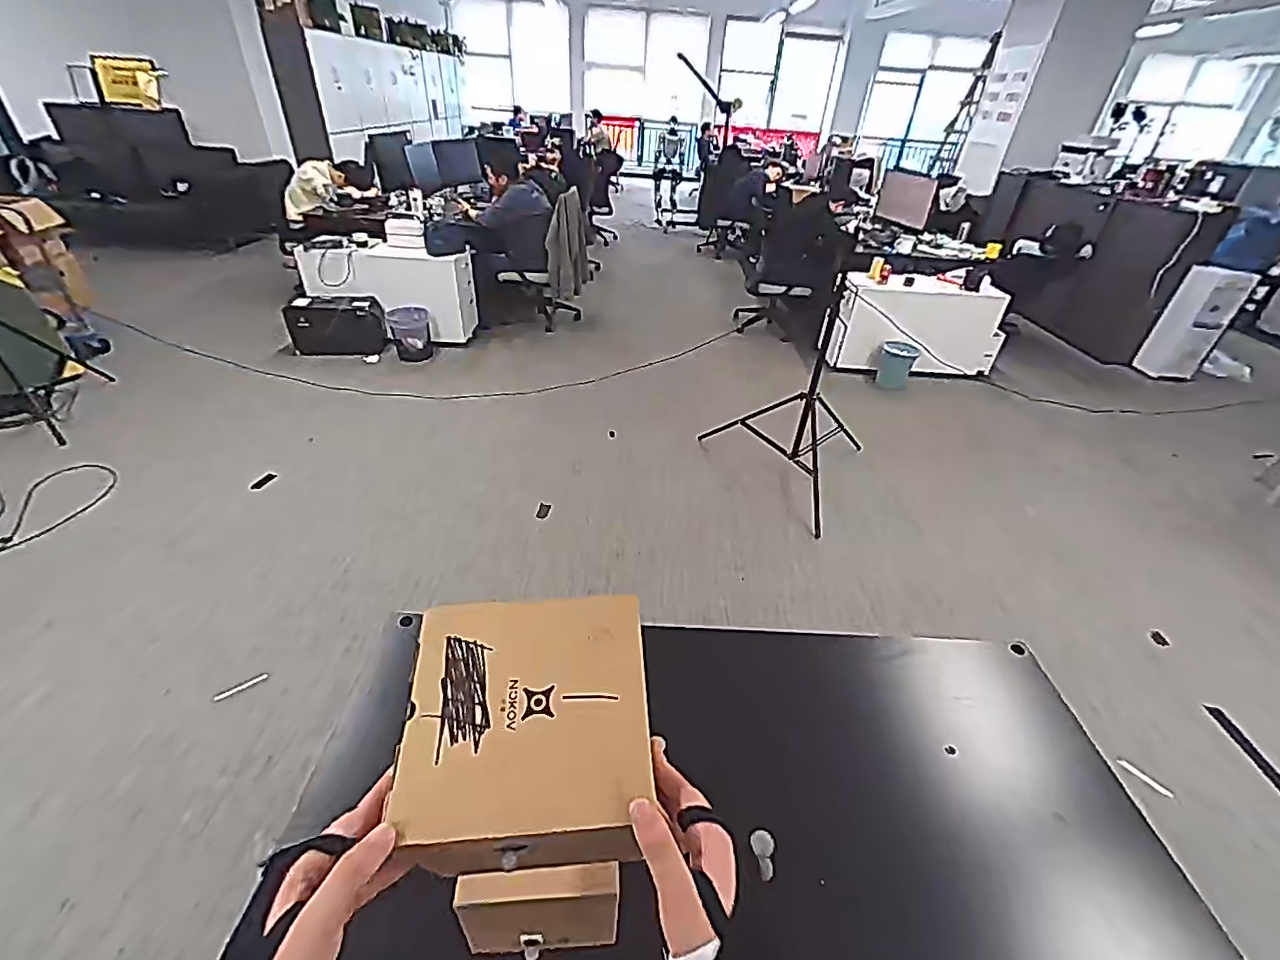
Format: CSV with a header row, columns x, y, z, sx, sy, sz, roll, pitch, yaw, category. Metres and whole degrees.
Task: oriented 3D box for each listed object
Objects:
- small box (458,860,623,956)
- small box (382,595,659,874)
x,y,z,sx,sy,sz,roll,pitch,yaw,category
-0.110,0.432,0.652,0.168,0.176,0.179,-1,37,-6,small box
-0.079,0.212,0.446,0.179,0.176,0.168,-3,50,-3,small box
